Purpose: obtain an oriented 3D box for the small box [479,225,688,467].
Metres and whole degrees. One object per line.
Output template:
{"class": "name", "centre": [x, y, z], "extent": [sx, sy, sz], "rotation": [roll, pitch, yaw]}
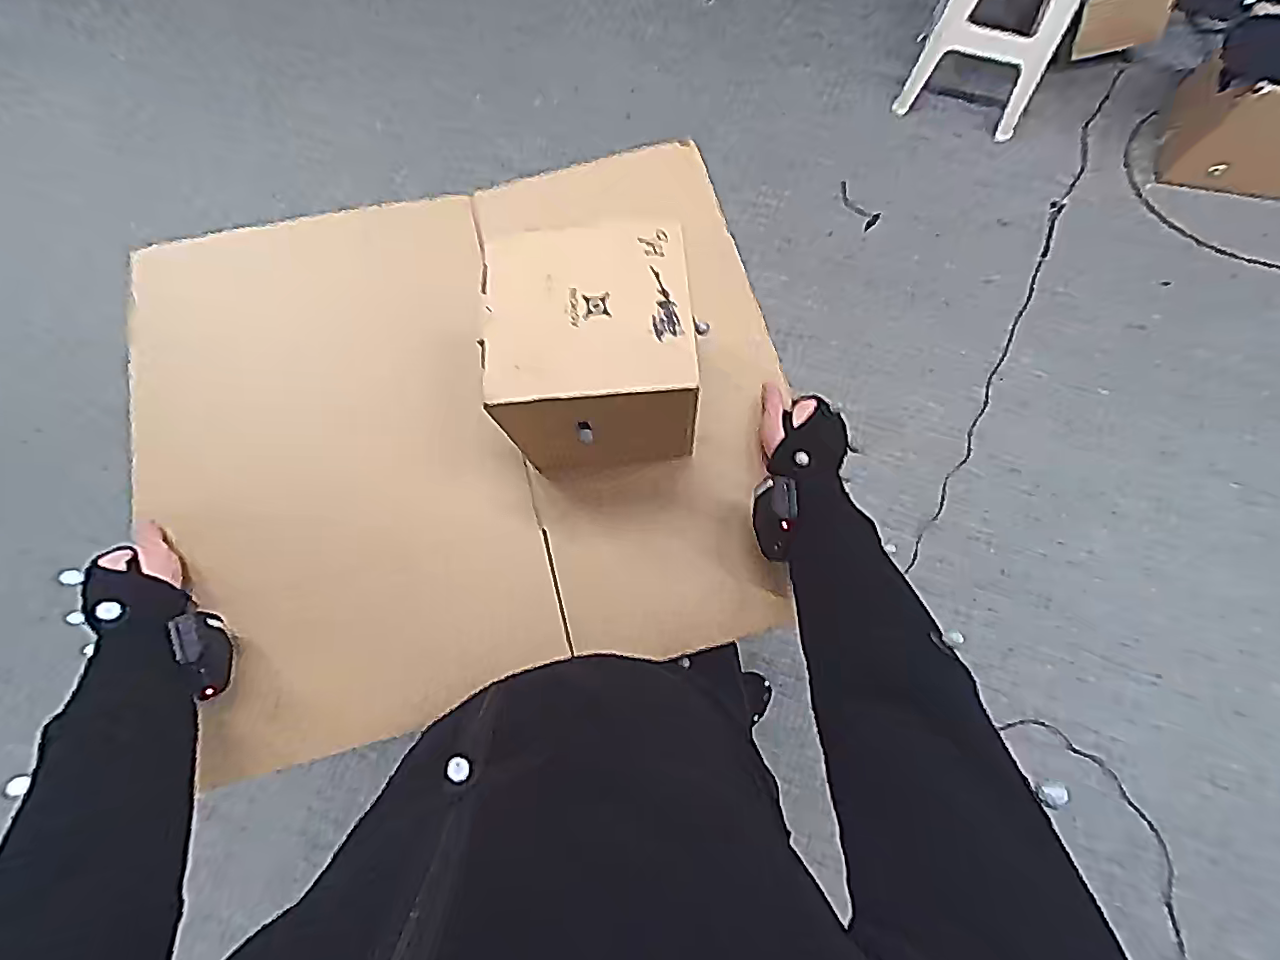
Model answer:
{"class": "small box", "centre": [-0.046, -0.117, 0.537], "extent": [0.179, 0.176, 0.168], "rotation": [-6, 74, 3]}
